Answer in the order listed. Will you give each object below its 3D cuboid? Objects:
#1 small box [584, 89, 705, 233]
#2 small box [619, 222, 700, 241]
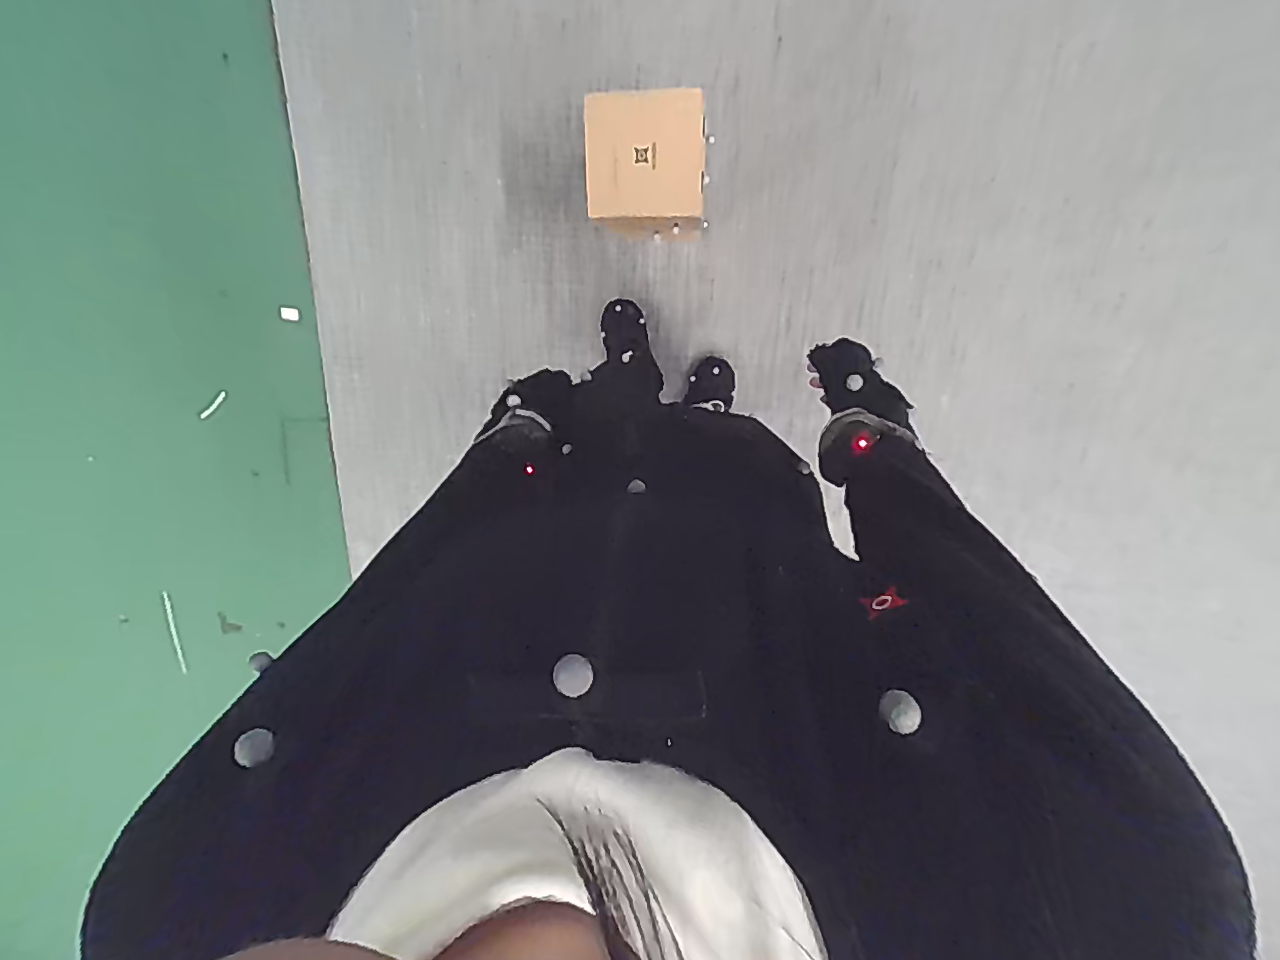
[{"bbox_3d":[0.015,-0.498,0.866,0.179,0.176,0.168,2,107,7],"label":"small box"},{"bbox_3d":[0.046,-0.616,1.169,0.179,0.176,0.168,4,108,6],"label":"small box"}]
